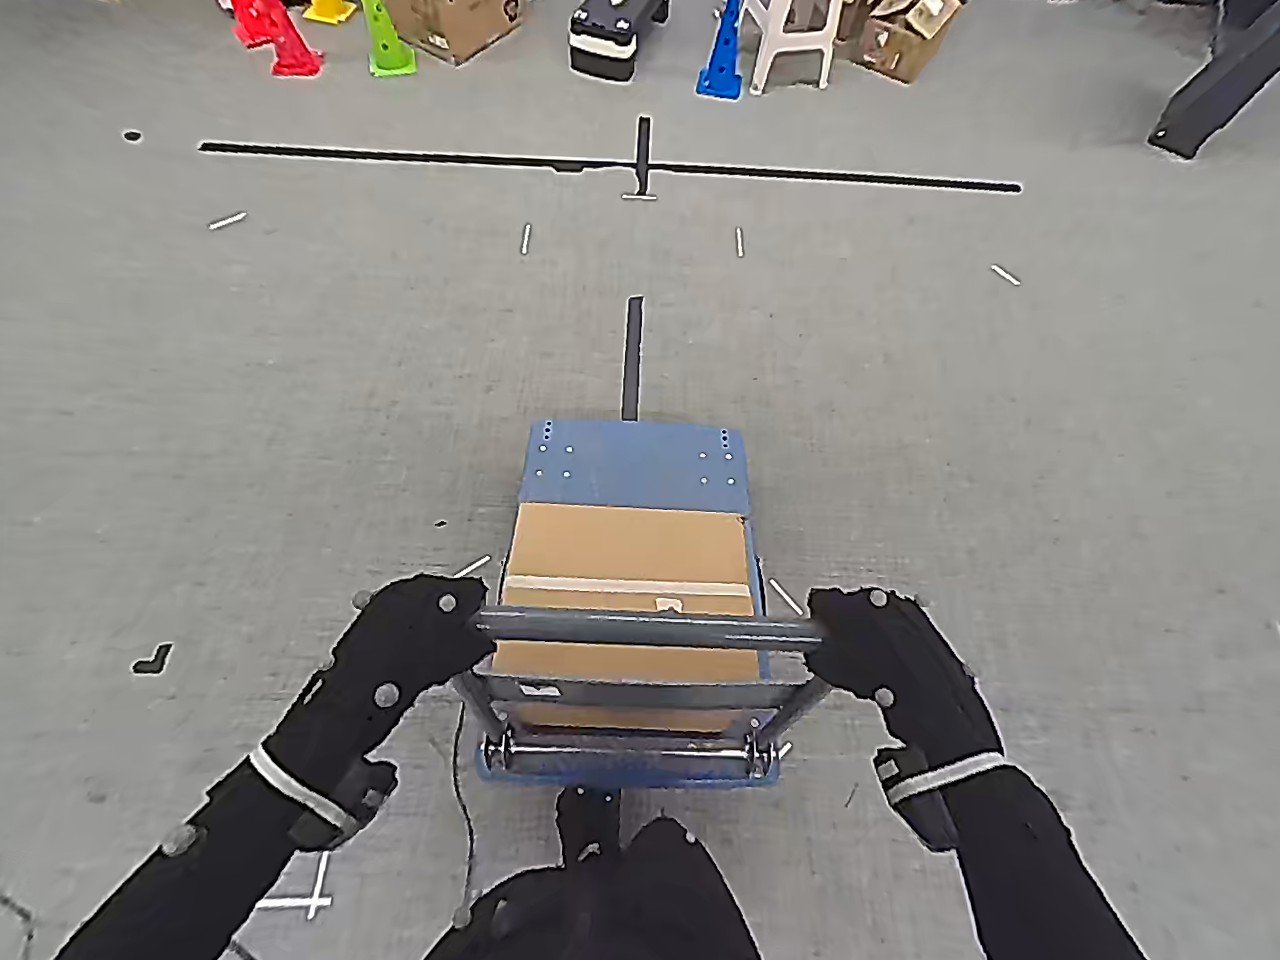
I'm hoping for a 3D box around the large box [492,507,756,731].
[{"bbox_3d":[-0.033,0.268,1.007,0.408,0.320,0.320,4,55,-3],"label":"large box"}]
